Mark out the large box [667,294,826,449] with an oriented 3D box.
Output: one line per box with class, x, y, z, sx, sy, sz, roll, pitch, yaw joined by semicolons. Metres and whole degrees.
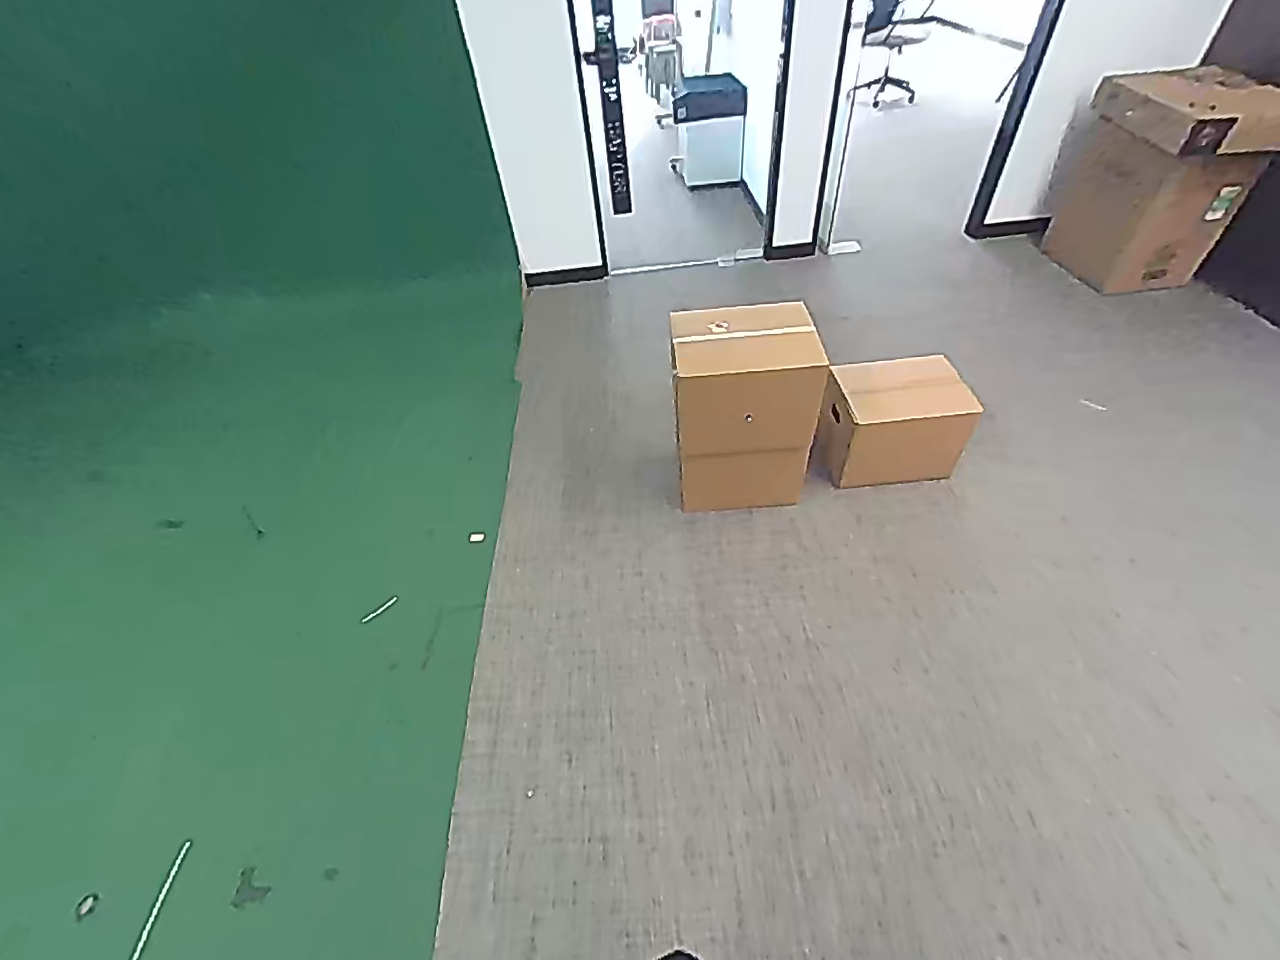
large box;0.299;-0.319;1.625;0.408;0.320;0.320;-5;50;3
